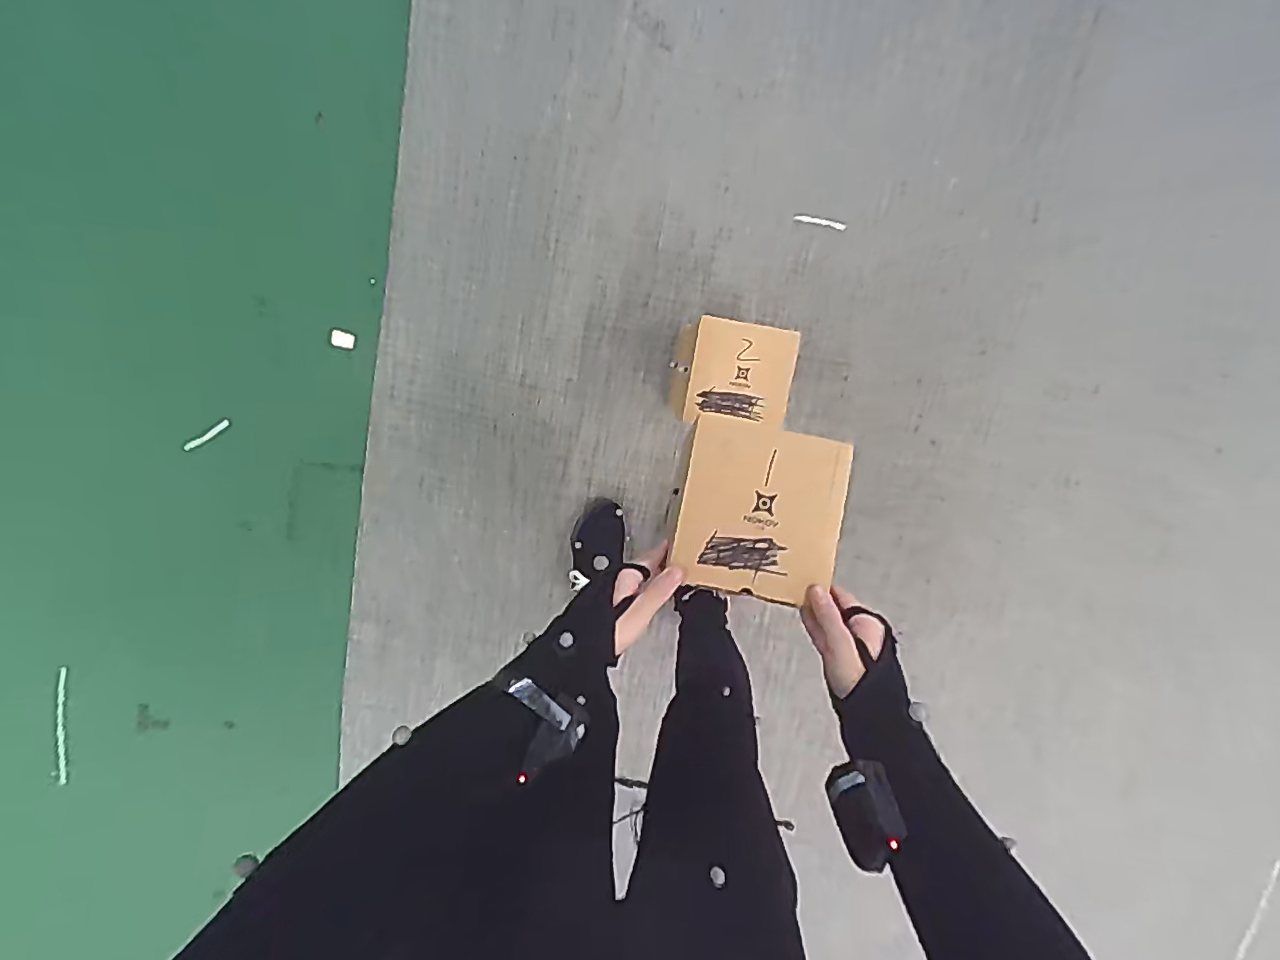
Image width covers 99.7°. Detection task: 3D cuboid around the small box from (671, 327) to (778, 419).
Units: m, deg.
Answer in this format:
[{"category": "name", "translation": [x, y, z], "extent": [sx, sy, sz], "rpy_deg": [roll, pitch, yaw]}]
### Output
[{"category": "small box", "translation": [0.164, -0.211, 1.119], "extent": [0.179, 0.176, 0.168], "rpy_deg": [9, 100, -3]}]

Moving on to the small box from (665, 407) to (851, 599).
[{"category": "small box", "translation": [0.126, 0.030, 0.642], "extent": [0.168, 0.176, 0.179], "rpy_deg": [12, 84, 0]}]
